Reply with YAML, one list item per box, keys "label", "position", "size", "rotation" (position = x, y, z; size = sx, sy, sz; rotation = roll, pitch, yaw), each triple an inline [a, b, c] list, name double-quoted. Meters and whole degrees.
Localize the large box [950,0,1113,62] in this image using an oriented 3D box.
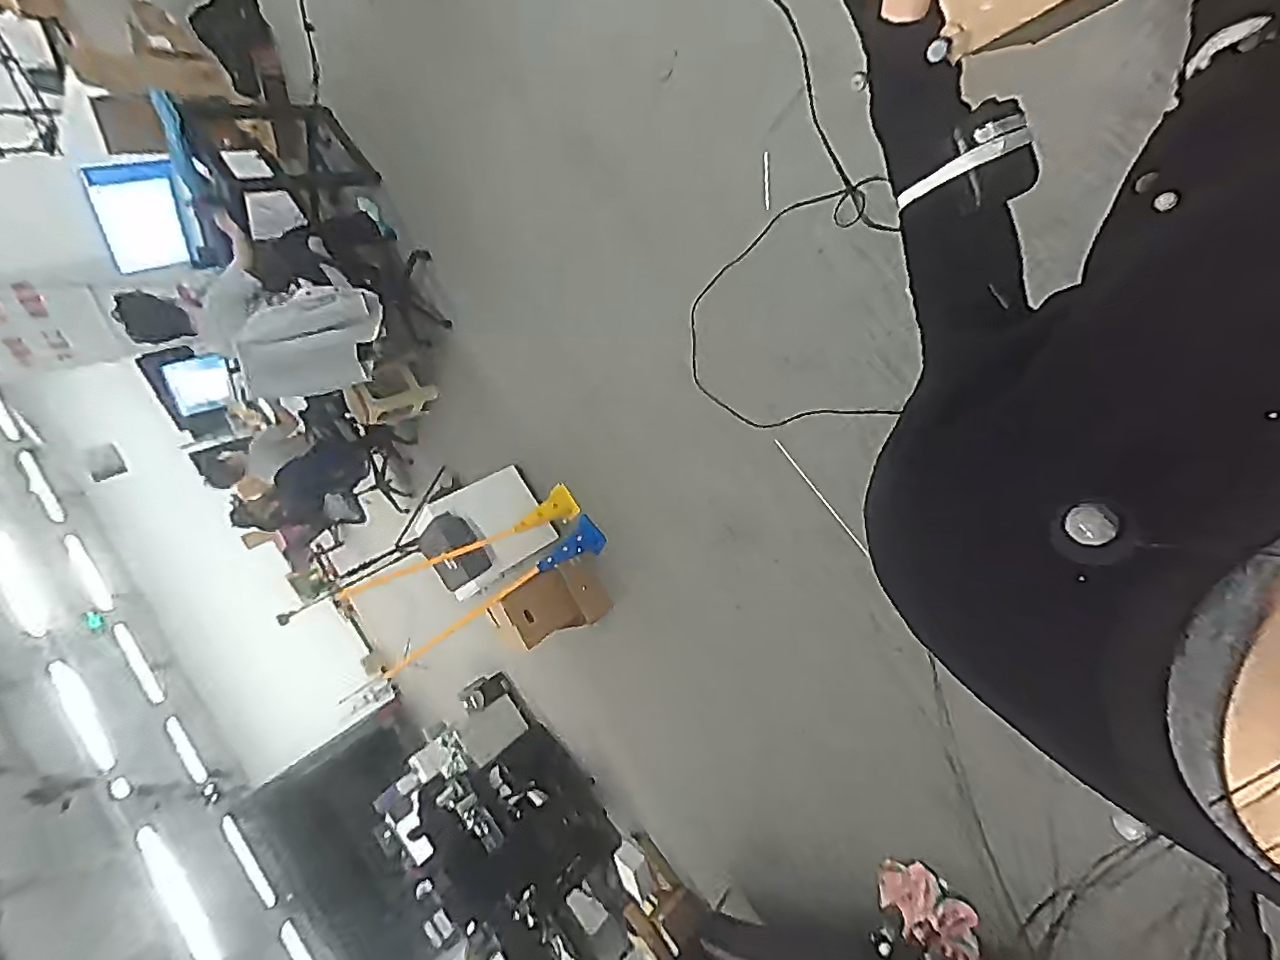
- label: "large box"
  position: [0.391, -0.516, 0.276]
  size: [0.408, 0.320, 0.320]
  rotation: [-4, 118, 48]
